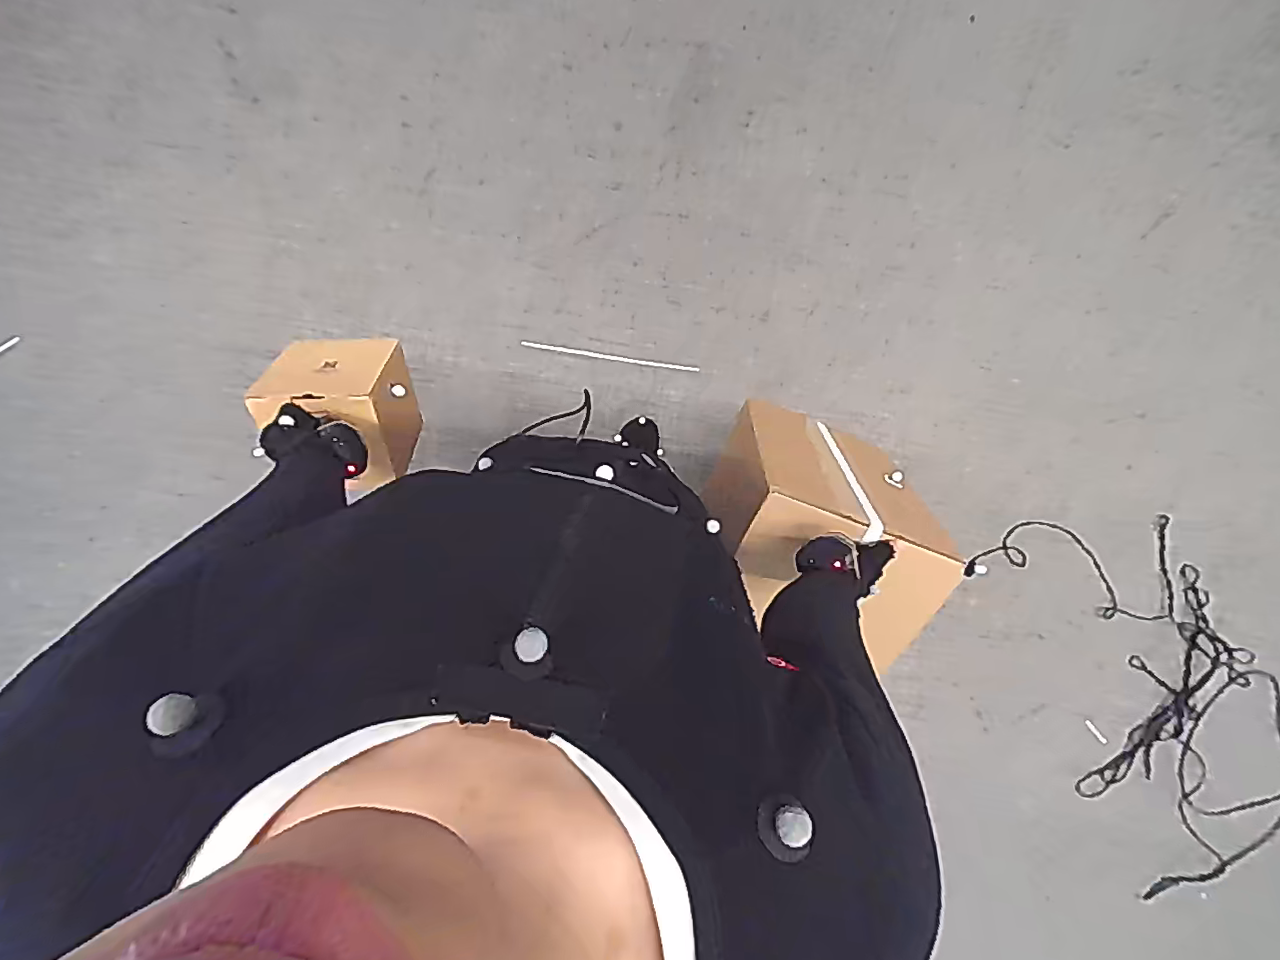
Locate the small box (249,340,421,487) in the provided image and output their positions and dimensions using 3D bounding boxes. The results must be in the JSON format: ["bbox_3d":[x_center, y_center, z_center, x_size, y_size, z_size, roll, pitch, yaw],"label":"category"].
[{"bbox_3d":[-0.462,-0.107,0.856,0.168,0.179,0.176,-3,130,-4],"label":"small box"}]
